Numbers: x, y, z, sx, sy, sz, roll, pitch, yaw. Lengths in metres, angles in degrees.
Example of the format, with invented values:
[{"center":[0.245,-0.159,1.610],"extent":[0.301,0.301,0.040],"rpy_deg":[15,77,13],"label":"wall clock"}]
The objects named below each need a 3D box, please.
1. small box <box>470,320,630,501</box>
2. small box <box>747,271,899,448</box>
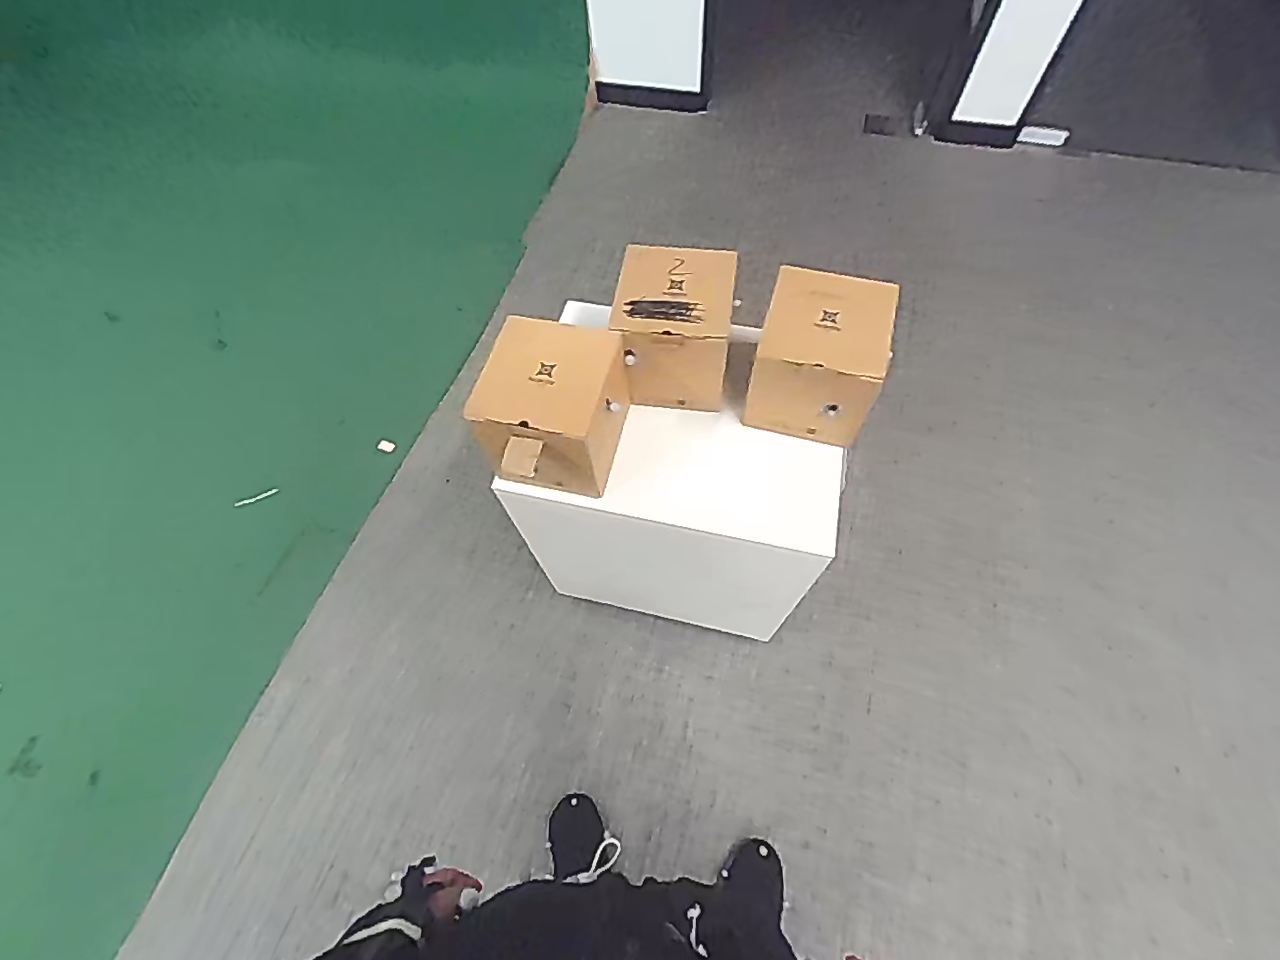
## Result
[{"center":[-0.114,-0.095,0.773],"extent":[0.168,0.176,0.179],"rpy_deg":[11,62,9],"label":"small box"},{"center":[0.259,-0.171,0.796],"extent":[0.168,0.176,0.179],"rpy_deg":[15,63,10],"label":"small box"}]
